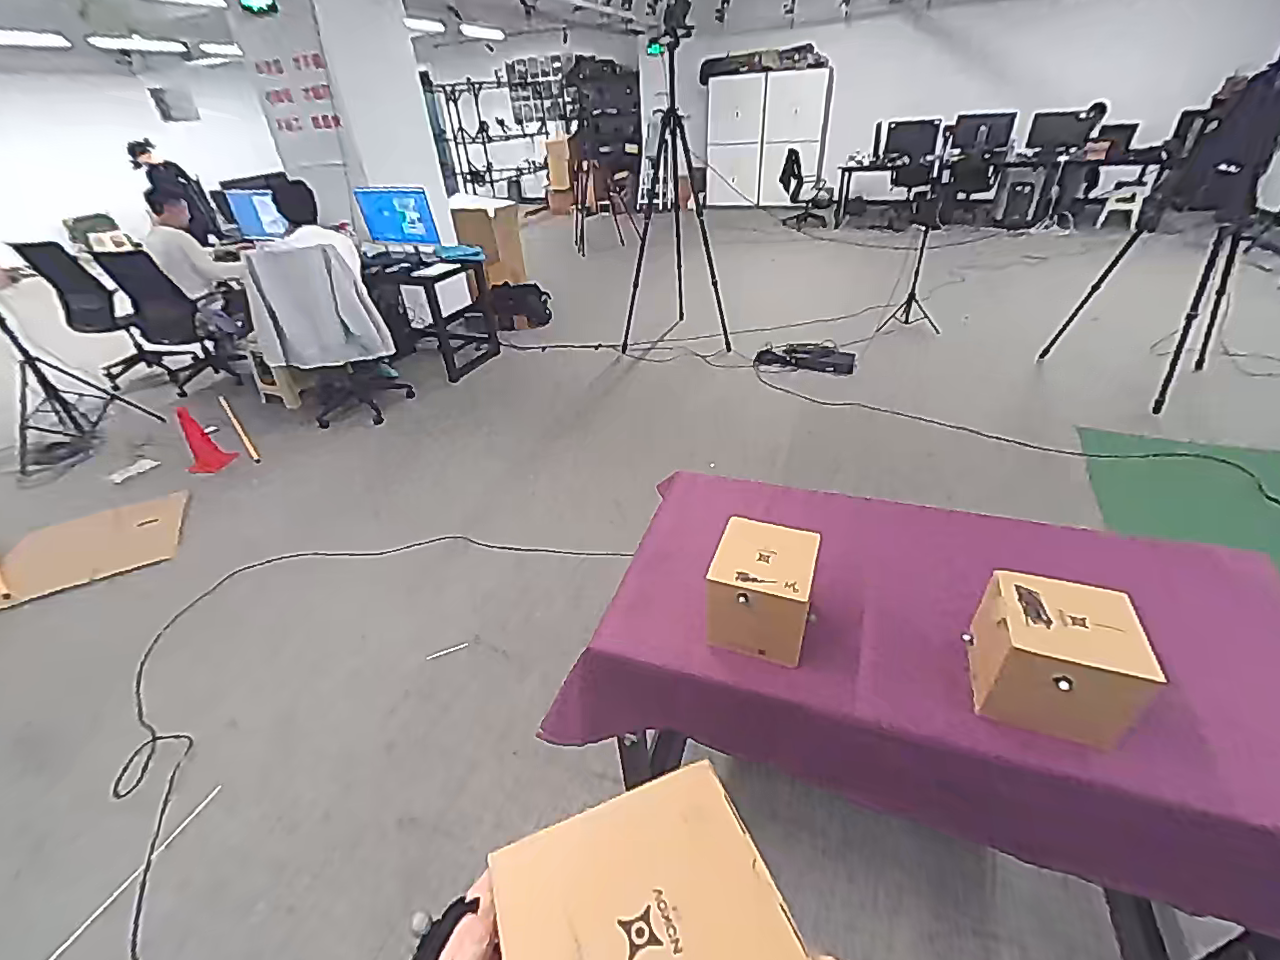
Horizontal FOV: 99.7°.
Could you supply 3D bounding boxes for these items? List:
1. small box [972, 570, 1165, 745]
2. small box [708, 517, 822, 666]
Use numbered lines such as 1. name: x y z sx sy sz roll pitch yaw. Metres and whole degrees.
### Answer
1. small box: 0.625 0.268 0.821 0.179 0.176 0.168 10 37 19
2. small box: 0.221 0.195 0.970 0.168 0.176 0.179 10 36 21
